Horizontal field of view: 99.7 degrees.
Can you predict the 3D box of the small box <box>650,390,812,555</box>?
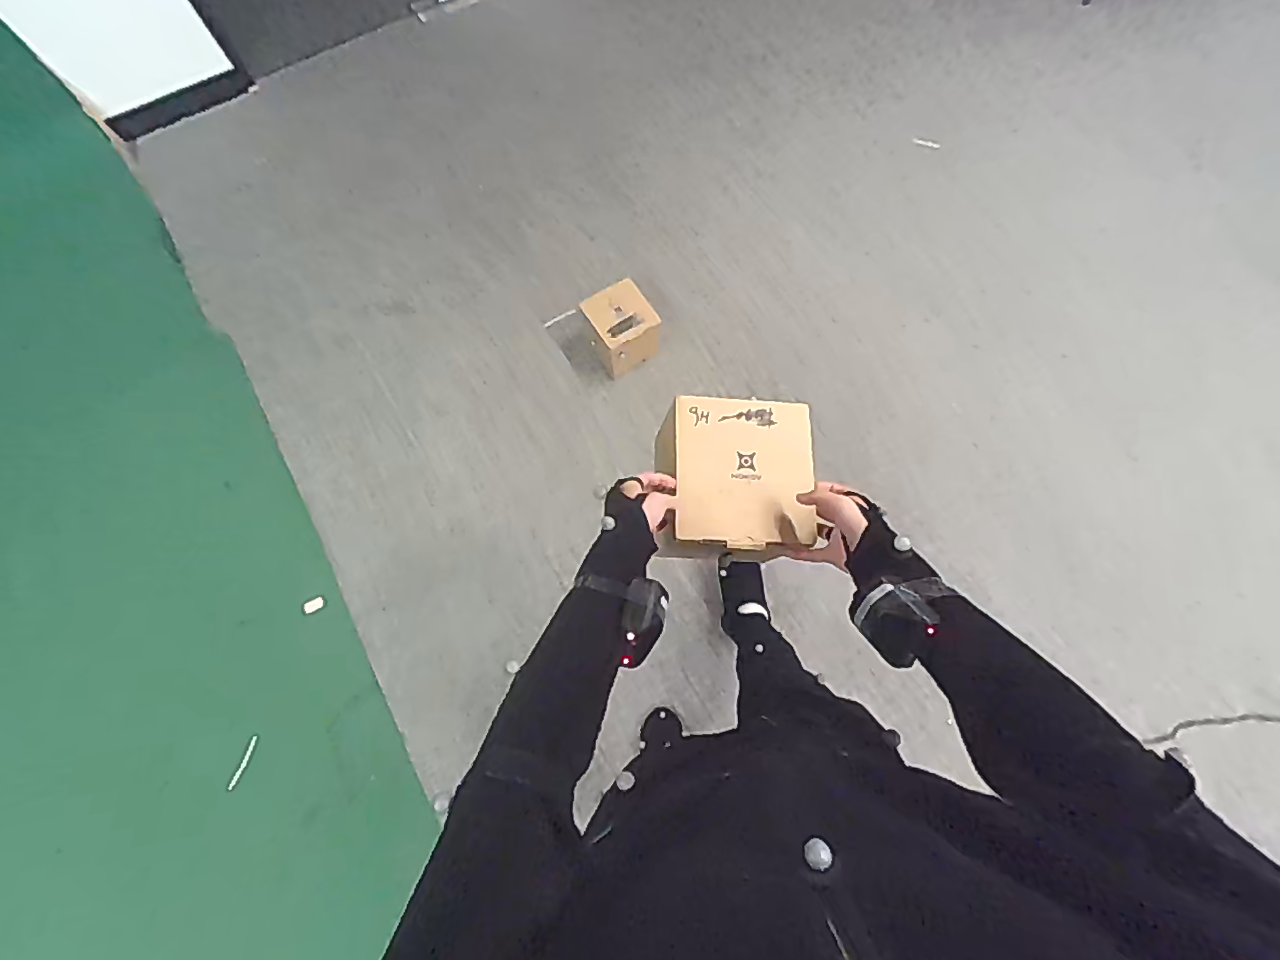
[{"bbox_3d":[0.107,0.001,0.697,0.168,0.176,0.179,4,76,-7],"label":"small box"}]
